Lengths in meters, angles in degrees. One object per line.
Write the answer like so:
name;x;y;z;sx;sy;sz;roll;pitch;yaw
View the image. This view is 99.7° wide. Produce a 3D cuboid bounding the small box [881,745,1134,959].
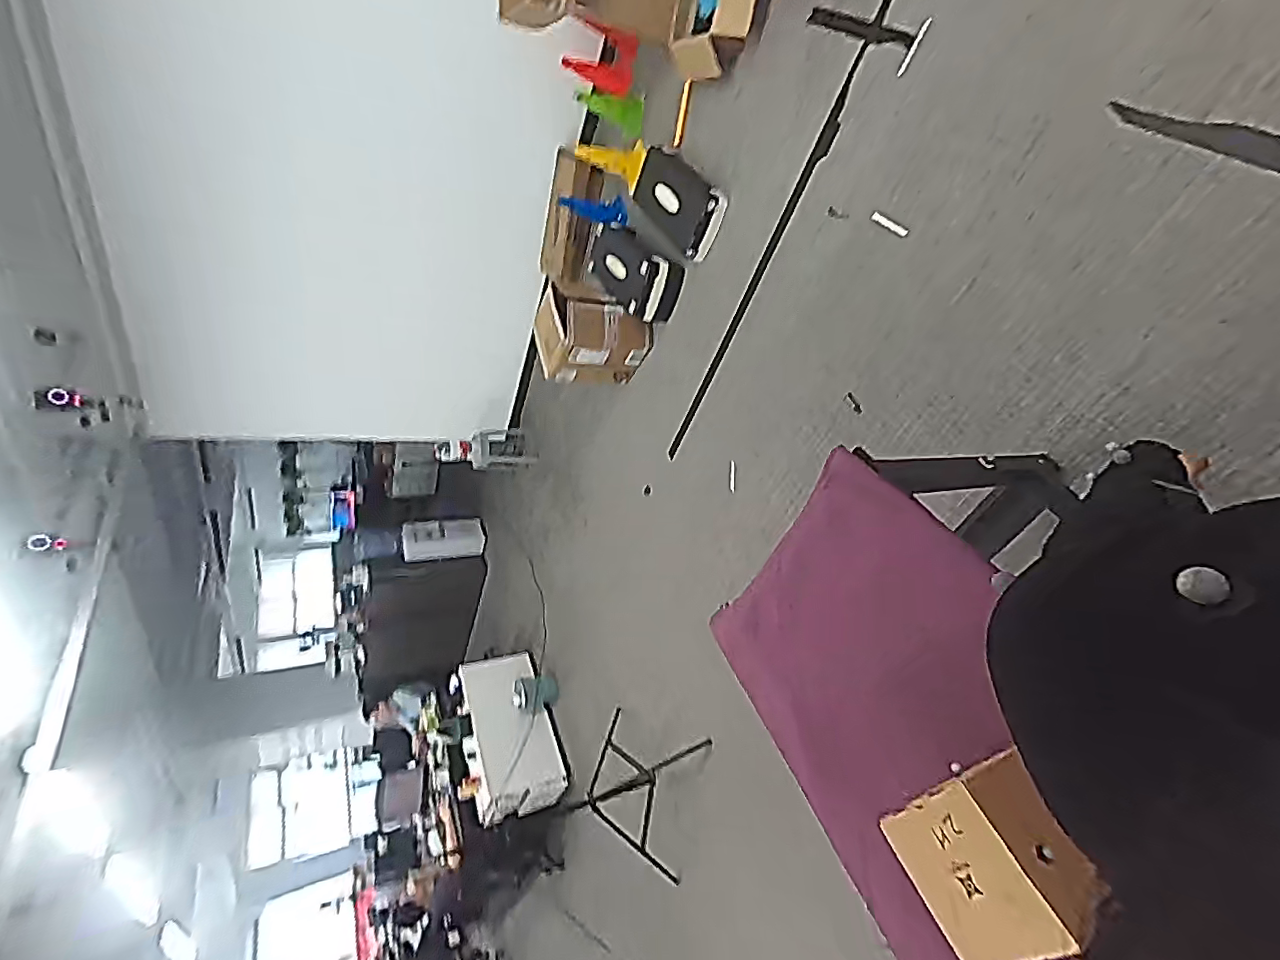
small box;0.465;0.476;0.694;0.179;0.176;0.168;62;140;36
